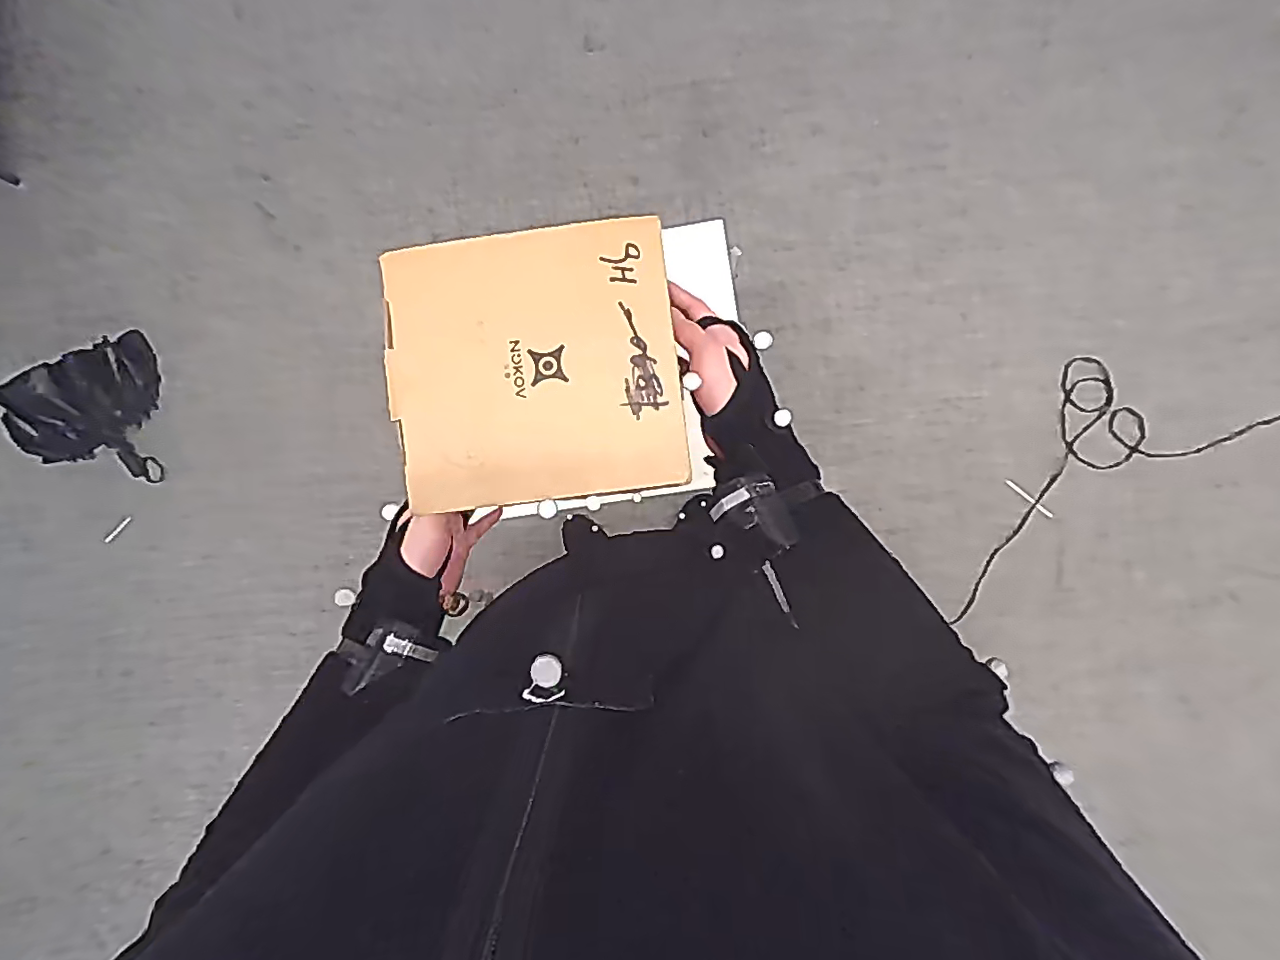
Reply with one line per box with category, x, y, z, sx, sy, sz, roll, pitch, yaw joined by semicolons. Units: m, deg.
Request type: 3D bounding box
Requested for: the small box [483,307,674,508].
small box;-0.056;-0.065;0.579;0.168;0.176;0.179;-7;89;2
